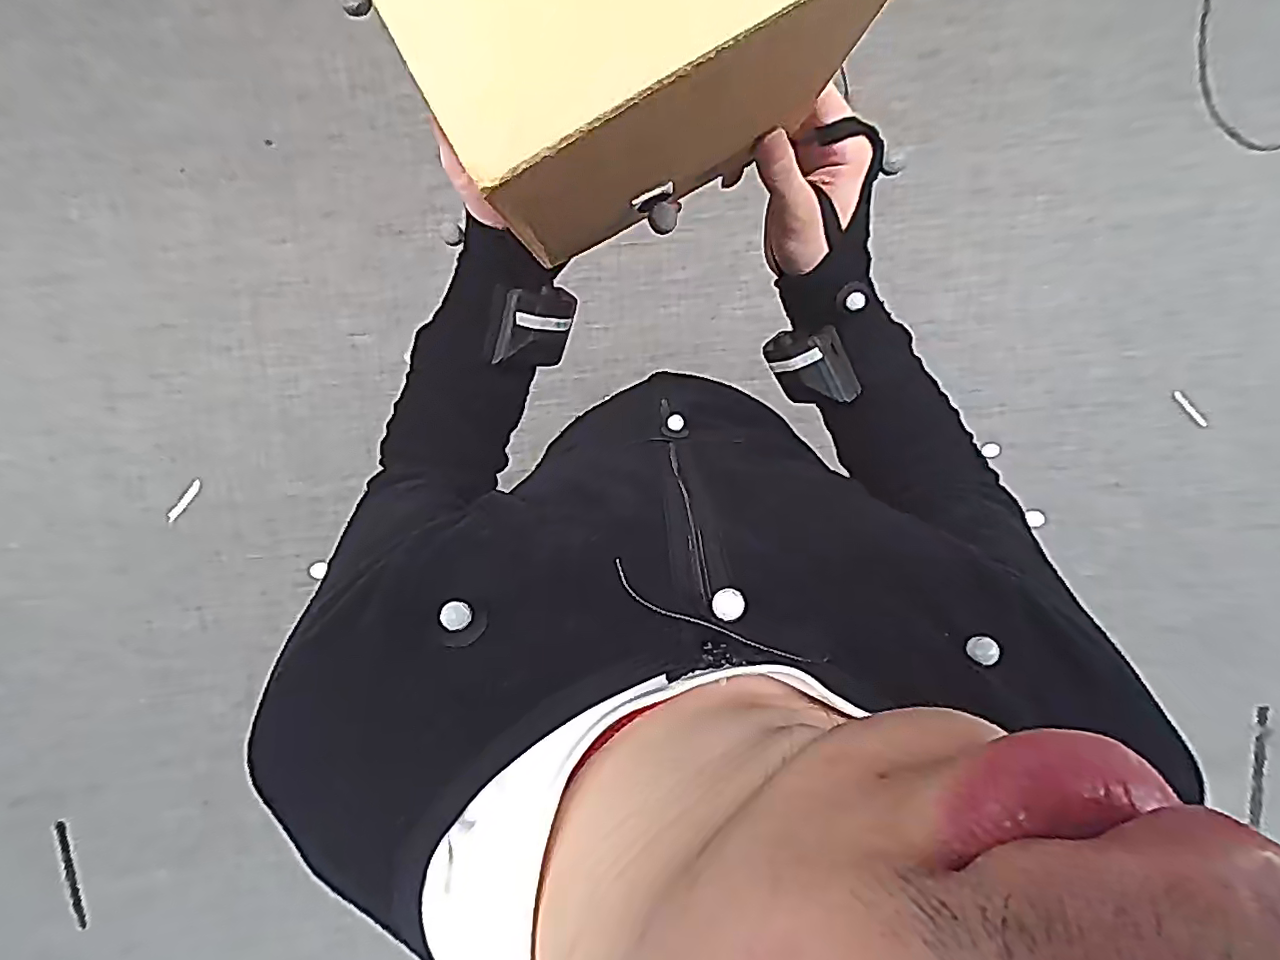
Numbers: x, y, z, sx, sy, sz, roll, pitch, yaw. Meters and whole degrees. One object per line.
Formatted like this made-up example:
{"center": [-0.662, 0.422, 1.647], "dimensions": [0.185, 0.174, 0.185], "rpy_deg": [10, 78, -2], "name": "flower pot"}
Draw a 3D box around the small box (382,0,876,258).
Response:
{"center": [-0.023, -0.227, 0.239], "dimensions": [0.168, 0.176, 0.179], "rpy_deg": [-28, 102, 6], "name": "small box"}
